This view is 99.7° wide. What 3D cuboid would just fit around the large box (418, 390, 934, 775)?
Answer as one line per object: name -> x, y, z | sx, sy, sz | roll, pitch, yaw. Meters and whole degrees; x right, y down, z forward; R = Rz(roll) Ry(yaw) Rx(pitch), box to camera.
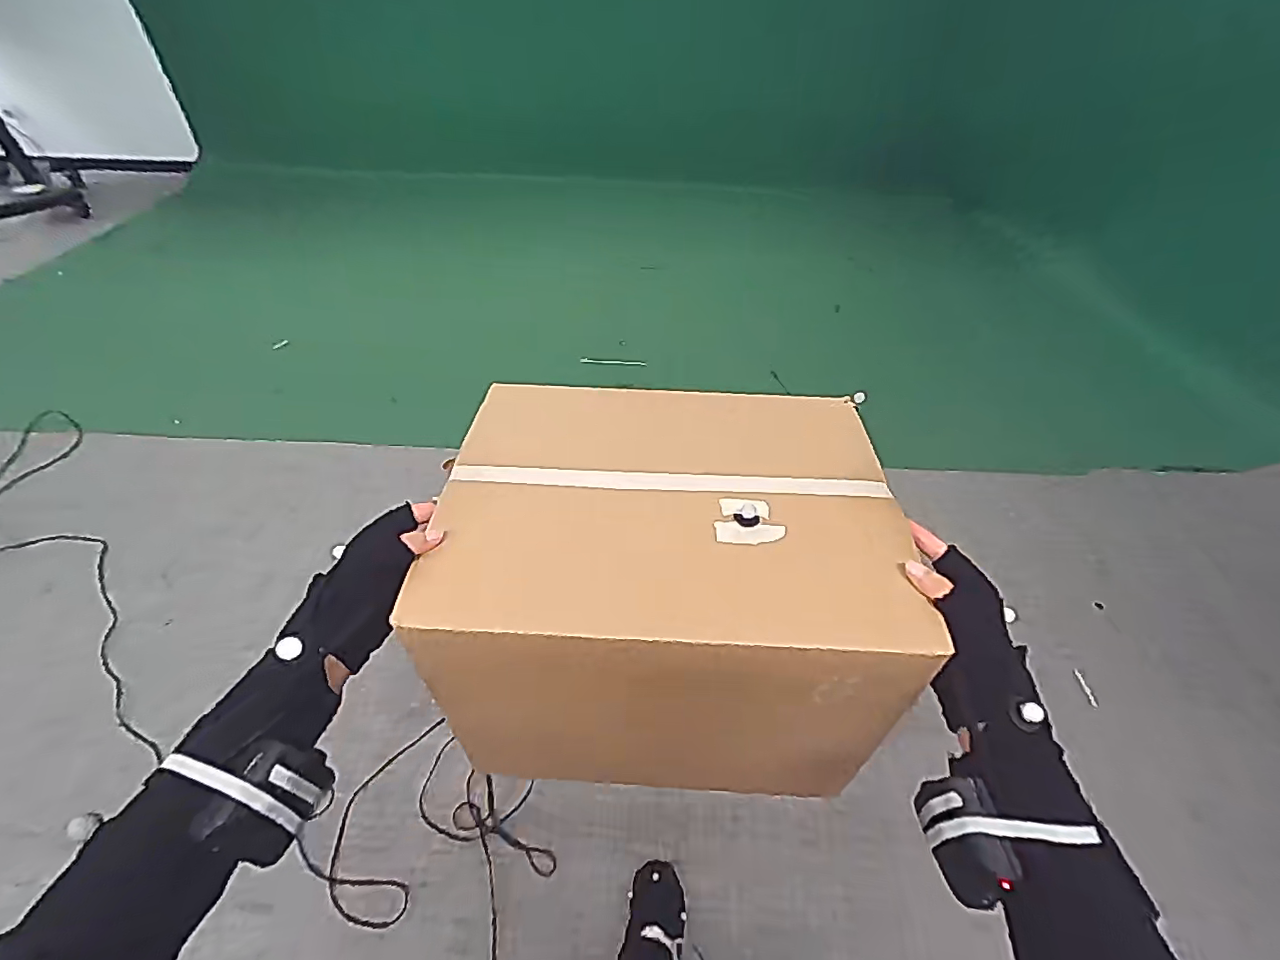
large box -> 0.026, 0.115, 0.617 | 0.408, 0.320, 0.320 | 3, 44, 0
